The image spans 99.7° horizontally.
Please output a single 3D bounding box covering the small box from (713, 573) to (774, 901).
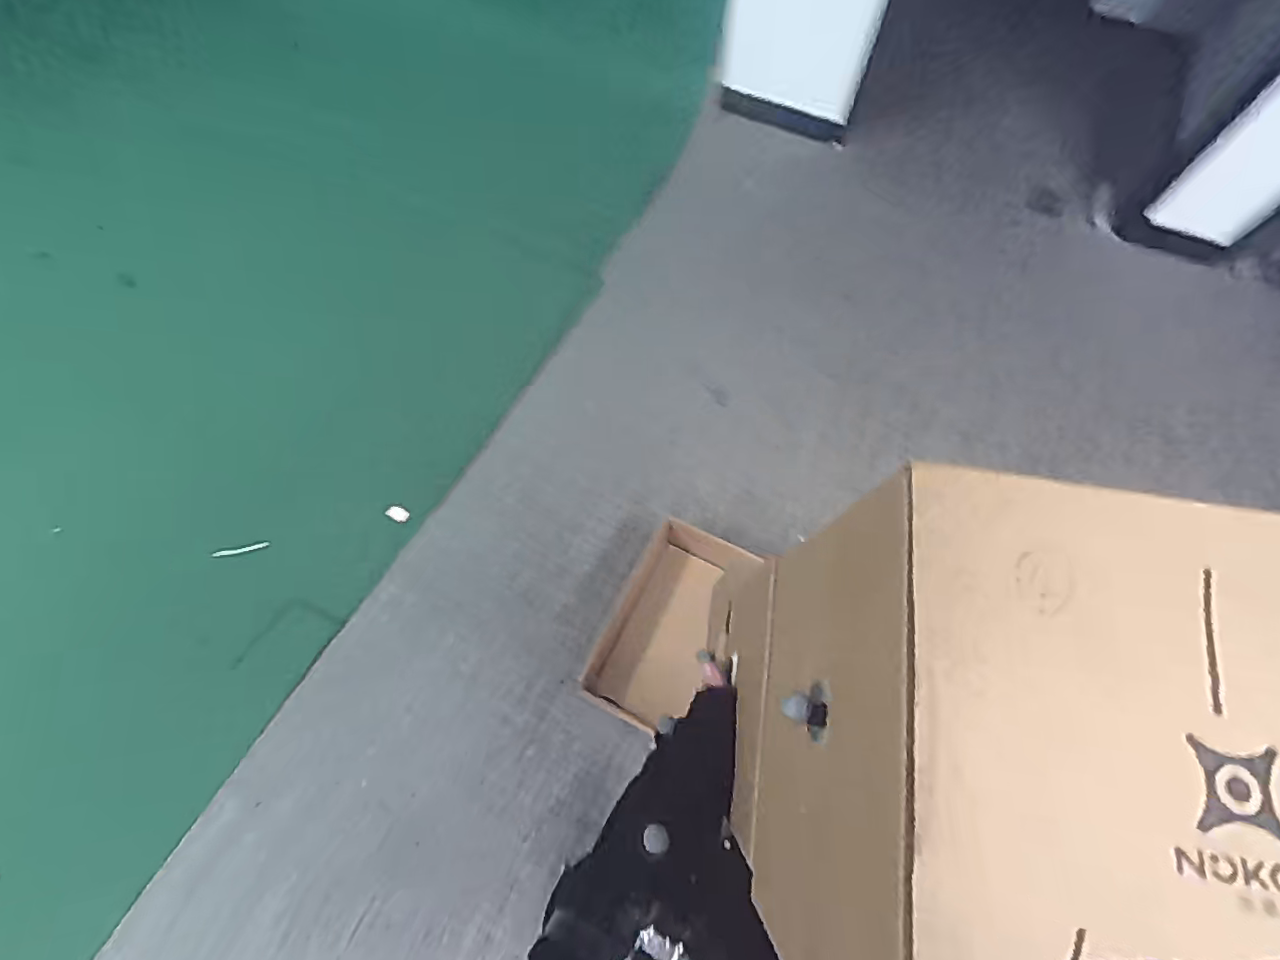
[{"bbox_3d":[0.149,0.159,0.357,0.179,0.176,0.168,4,72,2],"label":"small box"}]

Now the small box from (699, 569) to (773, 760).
[{"bbox_3d":[0.153,0.190,0.537,0.179,0.176,0.168,3,71,2],"label":"small box"}]
